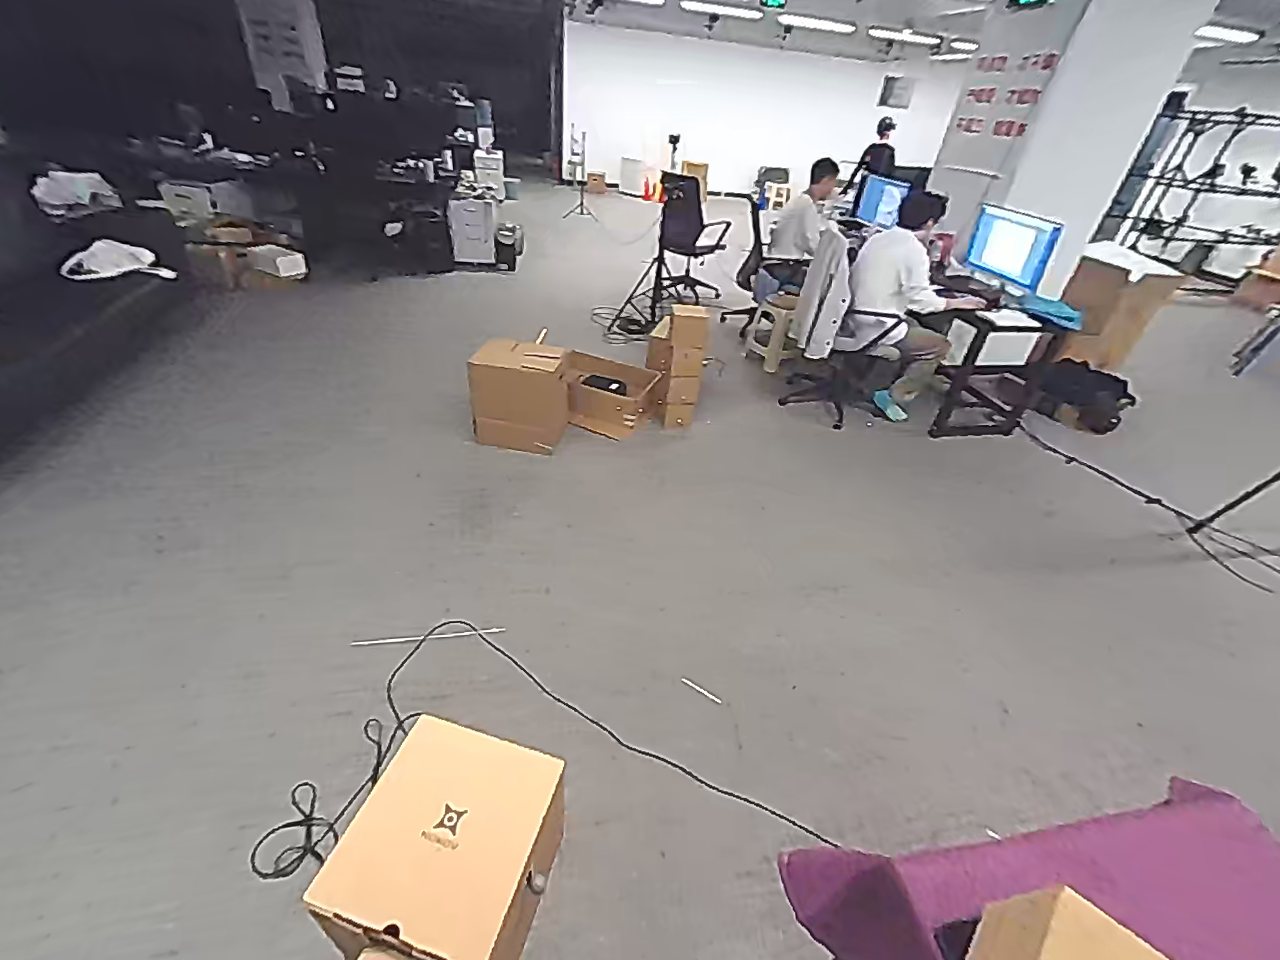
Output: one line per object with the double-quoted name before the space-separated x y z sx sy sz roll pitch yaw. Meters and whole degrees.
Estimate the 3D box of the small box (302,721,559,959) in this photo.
"small box" -0.192 0.388 0.549 0.168 0.176 0.179 13 37 9
